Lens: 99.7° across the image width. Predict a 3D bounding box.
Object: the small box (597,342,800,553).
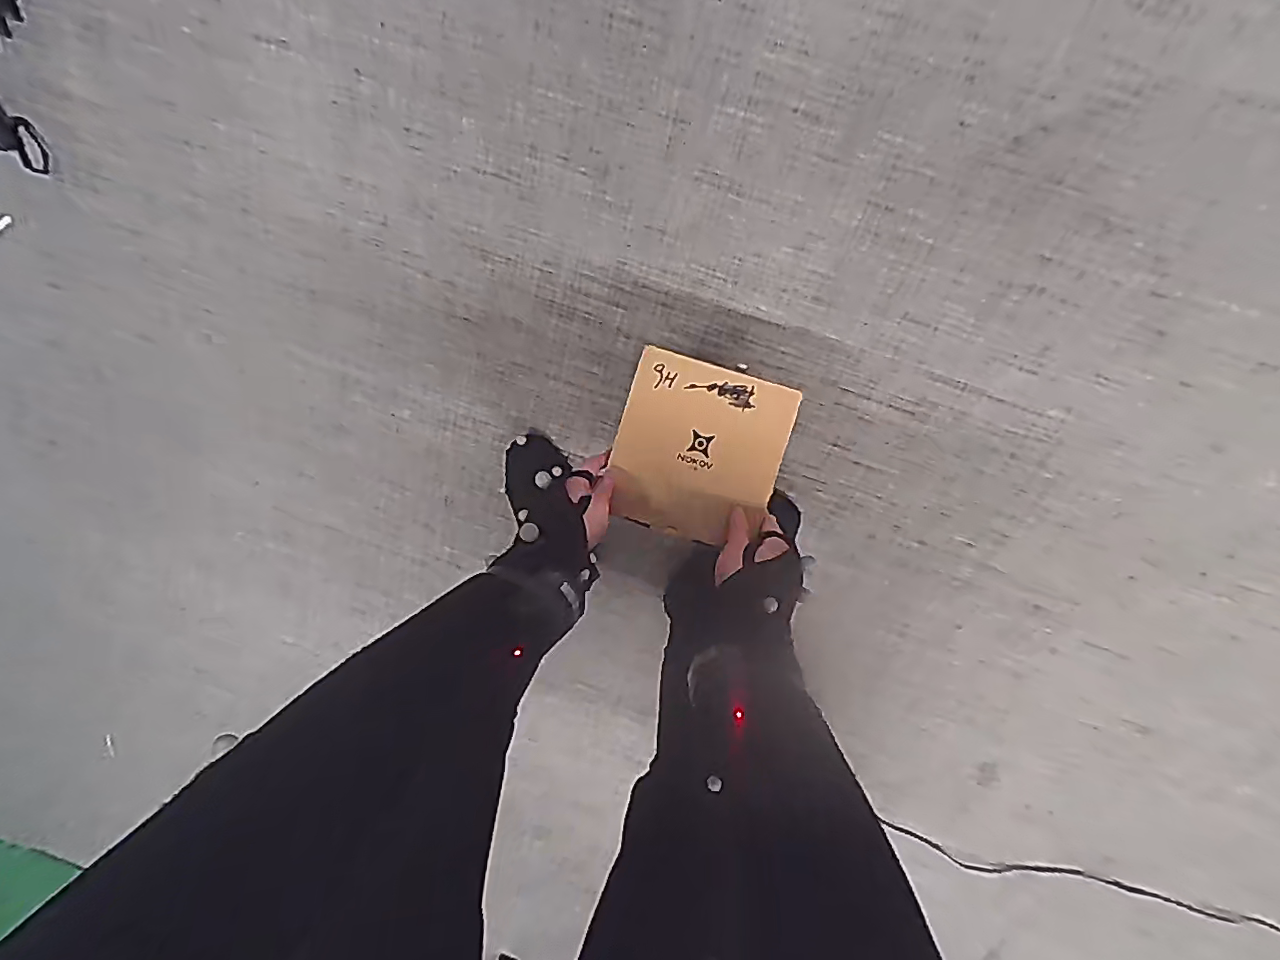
[{"bbox_3d":[0.063,-0.038,0.622,0.168,0.176,0.179,18,96,2],"label":"small box"}]
